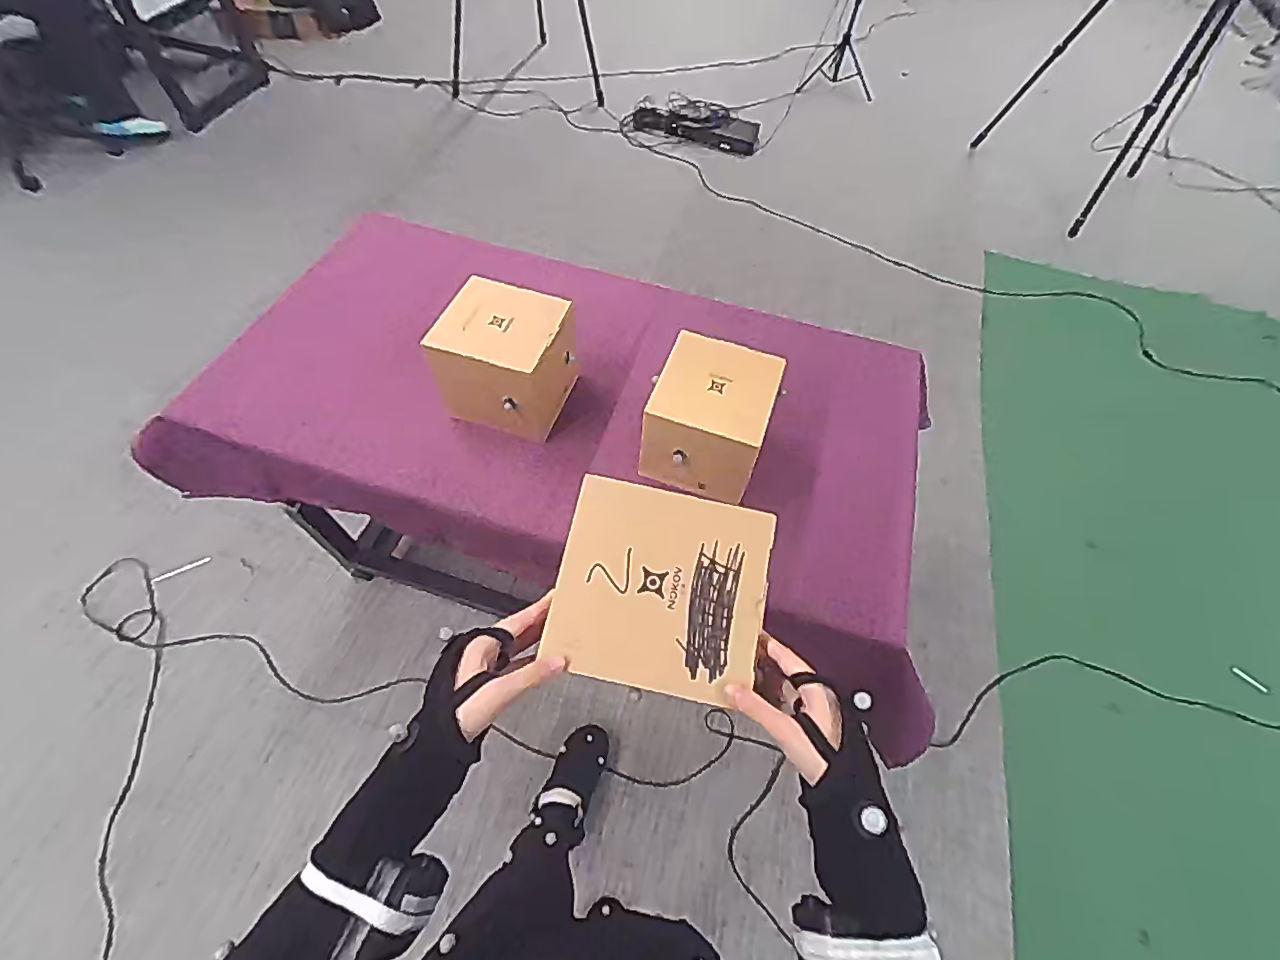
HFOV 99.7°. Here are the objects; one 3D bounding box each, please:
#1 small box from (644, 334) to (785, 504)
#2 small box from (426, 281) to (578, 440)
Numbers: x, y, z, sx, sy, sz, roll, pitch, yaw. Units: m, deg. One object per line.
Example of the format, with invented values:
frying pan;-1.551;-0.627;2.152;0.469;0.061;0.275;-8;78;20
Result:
small box;0.108;-0.089;0.838;0.168;0.176;0.179;18;57;8
small box;-0.208;-0.188;0.881;0.179;0.176;0.168;16;57;7
